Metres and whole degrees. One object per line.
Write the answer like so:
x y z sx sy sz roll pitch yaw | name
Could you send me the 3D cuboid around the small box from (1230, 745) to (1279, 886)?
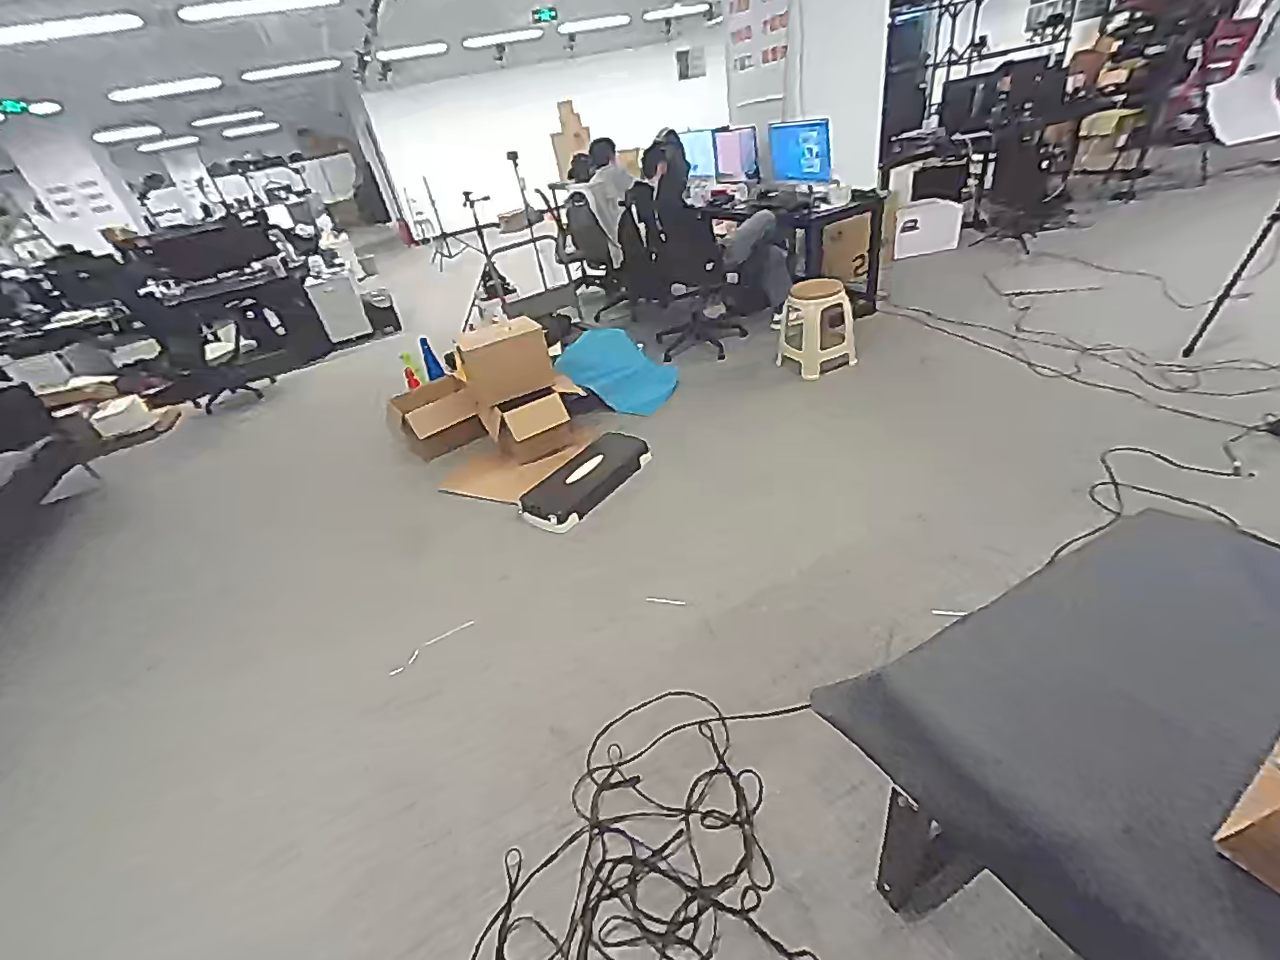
0.640 0.278 0.431 0.179 0.176 0.168 -40 43 -14 | small box
